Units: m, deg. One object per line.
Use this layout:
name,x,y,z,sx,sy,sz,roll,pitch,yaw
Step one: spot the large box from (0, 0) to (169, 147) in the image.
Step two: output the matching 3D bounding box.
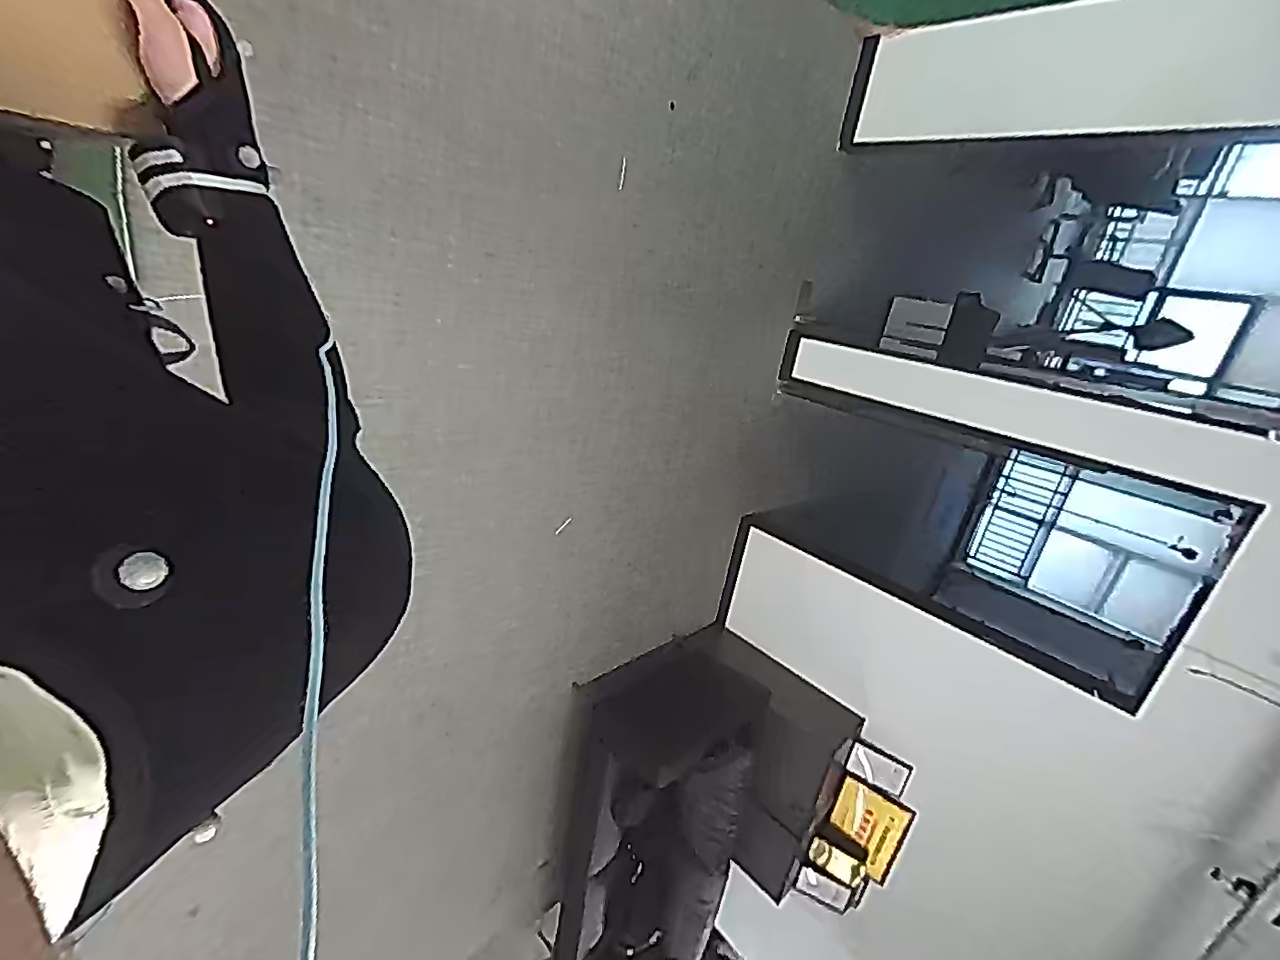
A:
large box,-0.614,-0.433,0.336,0.408,0.320,0.320,-16,123,-48
